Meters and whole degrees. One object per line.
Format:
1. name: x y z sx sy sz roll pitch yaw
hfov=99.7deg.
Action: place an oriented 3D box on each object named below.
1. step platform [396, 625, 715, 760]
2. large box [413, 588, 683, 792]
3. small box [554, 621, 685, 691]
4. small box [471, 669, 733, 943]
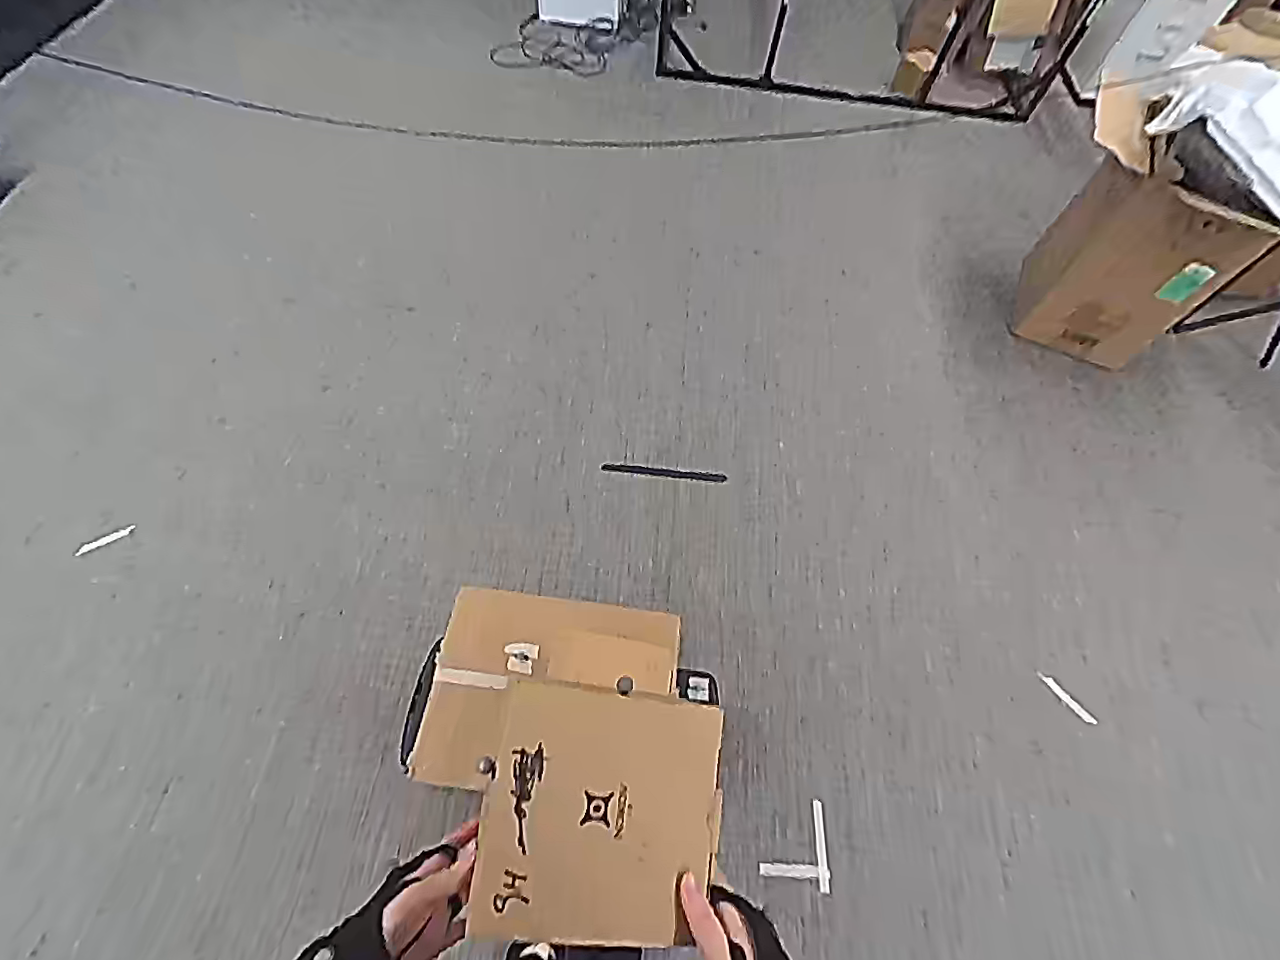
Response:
1. step platform: -0.173 0.547 1.220 0.684 0.204 0.286 12 61 4
2. large box: -0.139 0.419 1.021 0.408 0.320 0.320 7 60 1
3. small box: -0.041 0.325 0.799 0.179 0.176 0.168 11 61 3
4. small box: -0.038 0.262 0.471 0.179 0.176 0.168 12 70 -11
